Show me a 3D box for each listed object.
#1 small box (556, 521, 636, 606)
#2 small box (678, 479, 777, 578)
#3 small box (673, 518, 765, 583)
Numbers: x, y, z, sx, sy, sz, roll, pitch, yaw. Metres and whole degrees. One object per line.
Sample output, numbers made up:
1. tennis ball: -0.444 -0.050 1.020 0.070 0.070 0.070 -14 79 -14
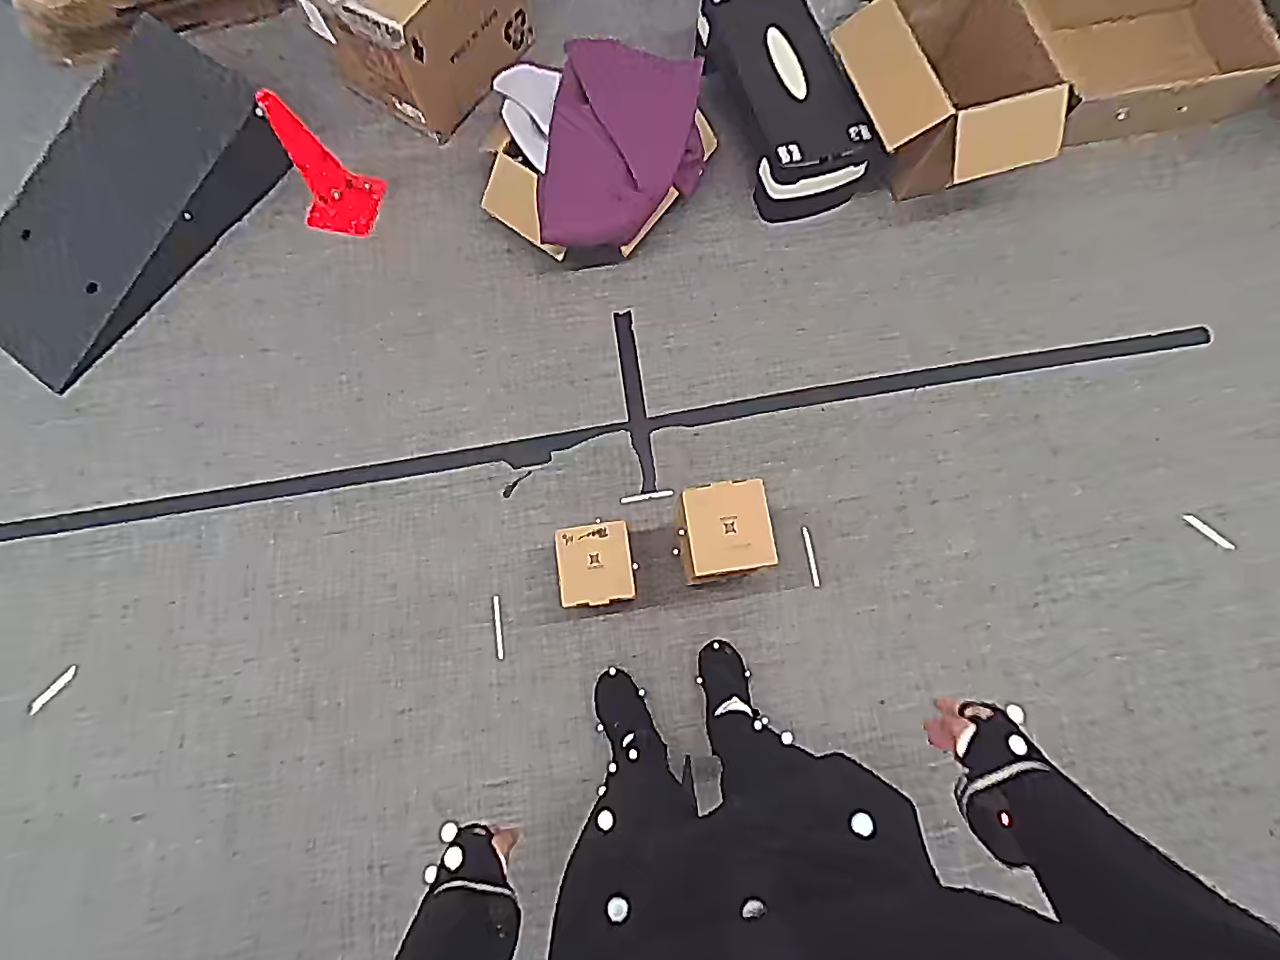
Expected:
1. small box: -0.101 0.202 1.291 0.168 0.176 0.179 -7 78 -1
2. small box: 0.176 0.108 1.144 0.168 0.176 0.179 -8 79 -1
3. small box: 0.183 0.153 1.300 0.179 0.176 0.168 -9 78 -3
